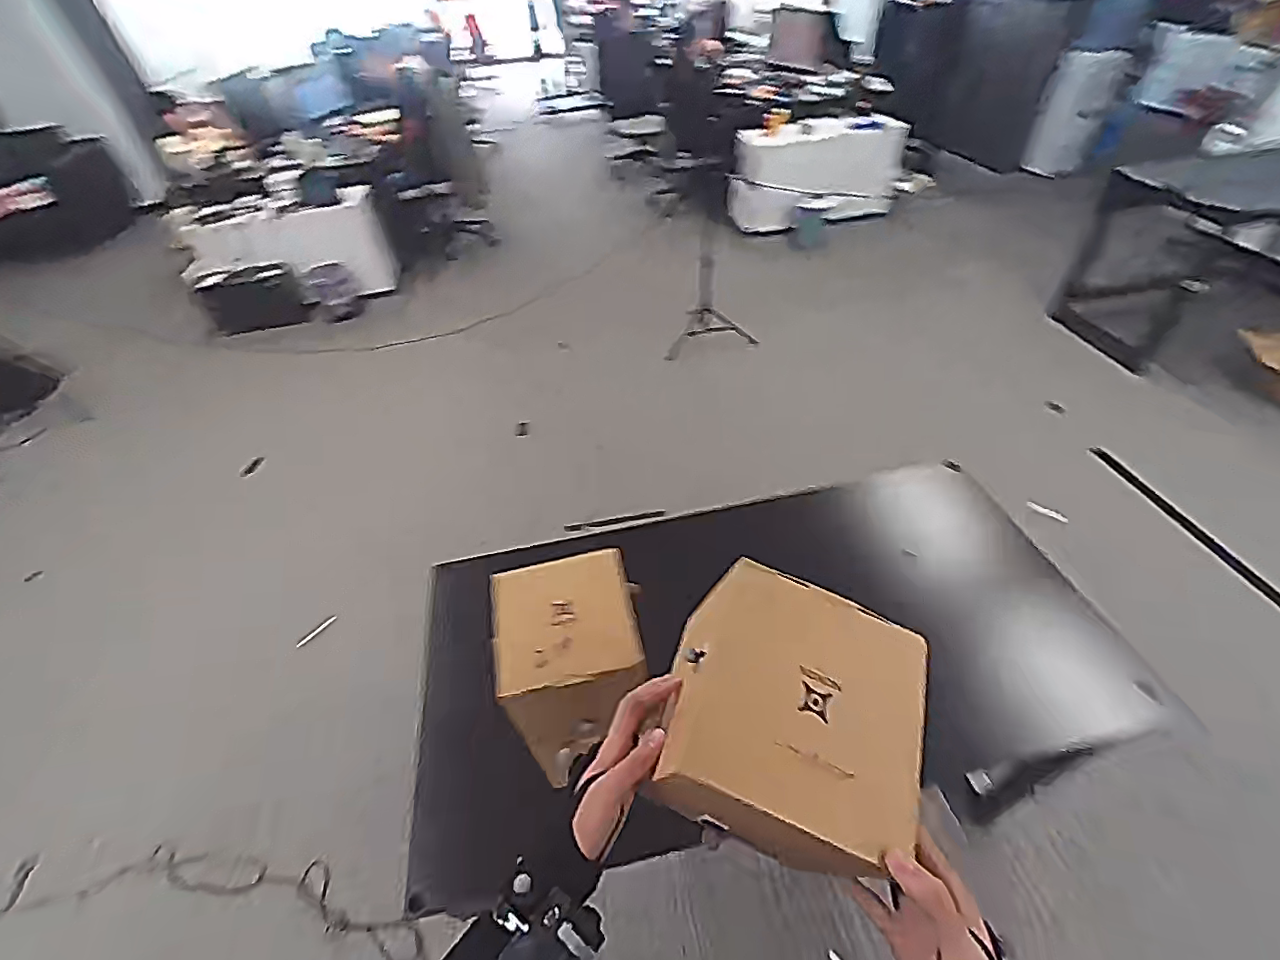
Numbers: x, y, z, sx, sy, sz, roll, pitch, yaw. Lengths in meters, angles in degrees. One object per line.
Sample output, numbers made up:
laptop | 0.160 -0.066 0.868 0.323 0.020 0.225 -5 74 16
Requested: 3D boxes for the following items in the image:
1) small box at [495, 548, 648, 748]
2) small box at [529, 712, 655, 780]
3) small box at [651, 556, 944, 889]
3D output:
small box | -0.090 0.222 0.719 0.168 0.176 0.179 -13 45 -6
small box | -0.077 0.340 0.834 0.168 0.176 0.179 -13 46 -6
small box | 0.122 0.200 0.453 0.168 0.176 0.179 24 55 4
